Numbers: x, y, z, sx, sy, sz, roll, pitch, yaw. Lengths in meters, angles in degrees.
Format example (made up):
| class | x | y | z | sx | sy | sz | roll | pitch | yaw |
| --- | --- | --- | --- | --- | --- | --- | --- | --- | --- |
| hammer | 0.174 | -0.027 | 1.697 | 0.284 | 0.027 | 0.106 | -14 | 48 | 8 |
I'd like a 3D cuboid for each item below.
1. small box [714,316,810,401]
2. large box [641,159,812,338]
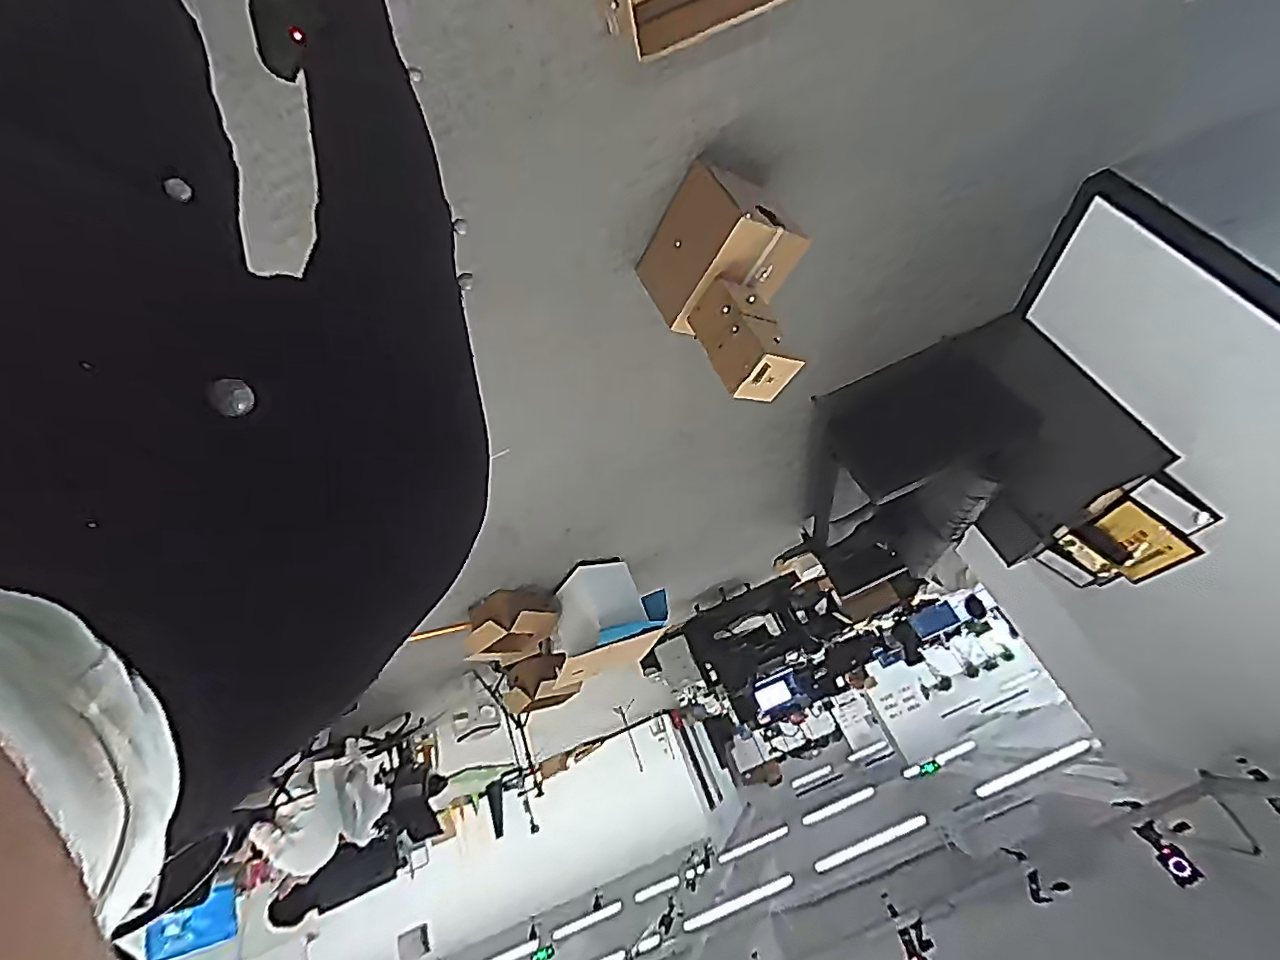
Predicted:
| class | x | y | z | sx | sy | sz | roll | pitch | yaw |
| --- | --- | --- | --- | --- | --- | --- | --- | --- | --- |
| small box | 0.348 | -0.352 | 1.572 | 0.179 | 0.176 | 0.168 | -2 | 143 | -37 |
| large box | 0.258 | -0.722 | 1.744 | 0.320 | 0.320 | 0.408 | -3 | 143 | -36 |
